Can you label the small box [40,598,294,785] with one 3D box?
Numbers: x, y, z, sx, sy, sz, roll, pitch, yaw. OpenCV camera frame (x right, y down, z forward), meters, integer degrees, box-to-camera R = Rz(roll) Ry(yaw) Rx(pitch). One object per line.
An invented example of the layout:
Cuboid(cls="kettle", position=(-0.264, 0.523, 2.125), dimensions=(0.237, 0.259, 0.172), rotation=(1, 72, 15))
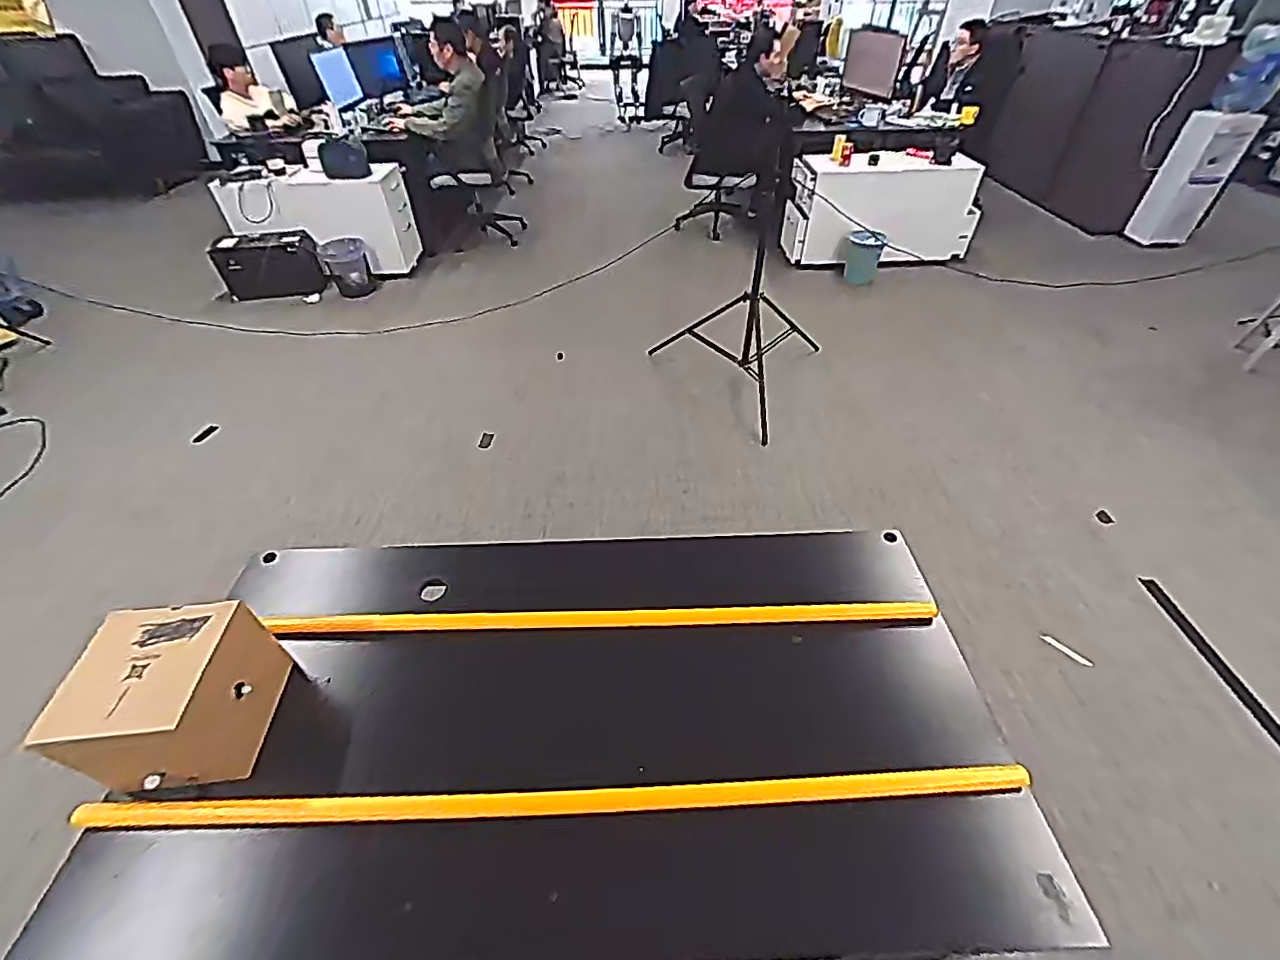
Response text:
Cuboid(cls="small box", position=(-0.606, 0.284, 0.729), dimensions=(0.168, 0.176, 0.179), rotation=(-4, 44, -4))
